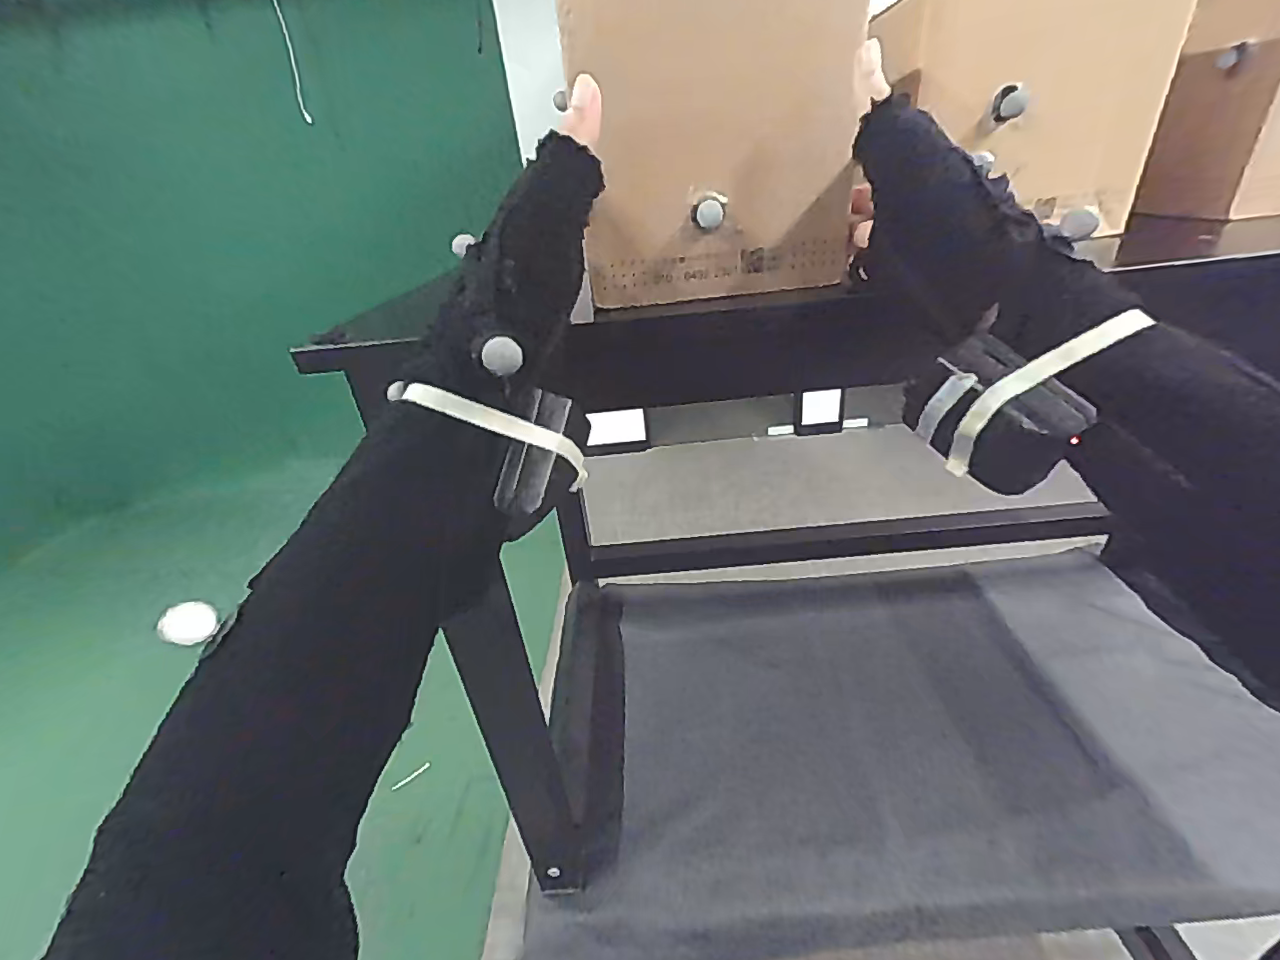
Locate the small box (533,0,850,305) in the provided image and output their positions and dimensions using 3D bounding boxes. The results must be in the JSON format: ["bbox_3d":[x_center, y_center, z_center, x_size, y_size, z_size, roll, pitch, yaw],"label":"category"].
[{"bbox_3d":[0.030,-0.228,0.381,0.168,0.176,0.179,-6,30,1],"label":"small box"}]

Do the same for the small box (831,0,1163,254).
[{"bbox_3d":[0.261,-0.285,0.437,0.168,0.176,0.179,-5,29,5],"label":"small box"}]
